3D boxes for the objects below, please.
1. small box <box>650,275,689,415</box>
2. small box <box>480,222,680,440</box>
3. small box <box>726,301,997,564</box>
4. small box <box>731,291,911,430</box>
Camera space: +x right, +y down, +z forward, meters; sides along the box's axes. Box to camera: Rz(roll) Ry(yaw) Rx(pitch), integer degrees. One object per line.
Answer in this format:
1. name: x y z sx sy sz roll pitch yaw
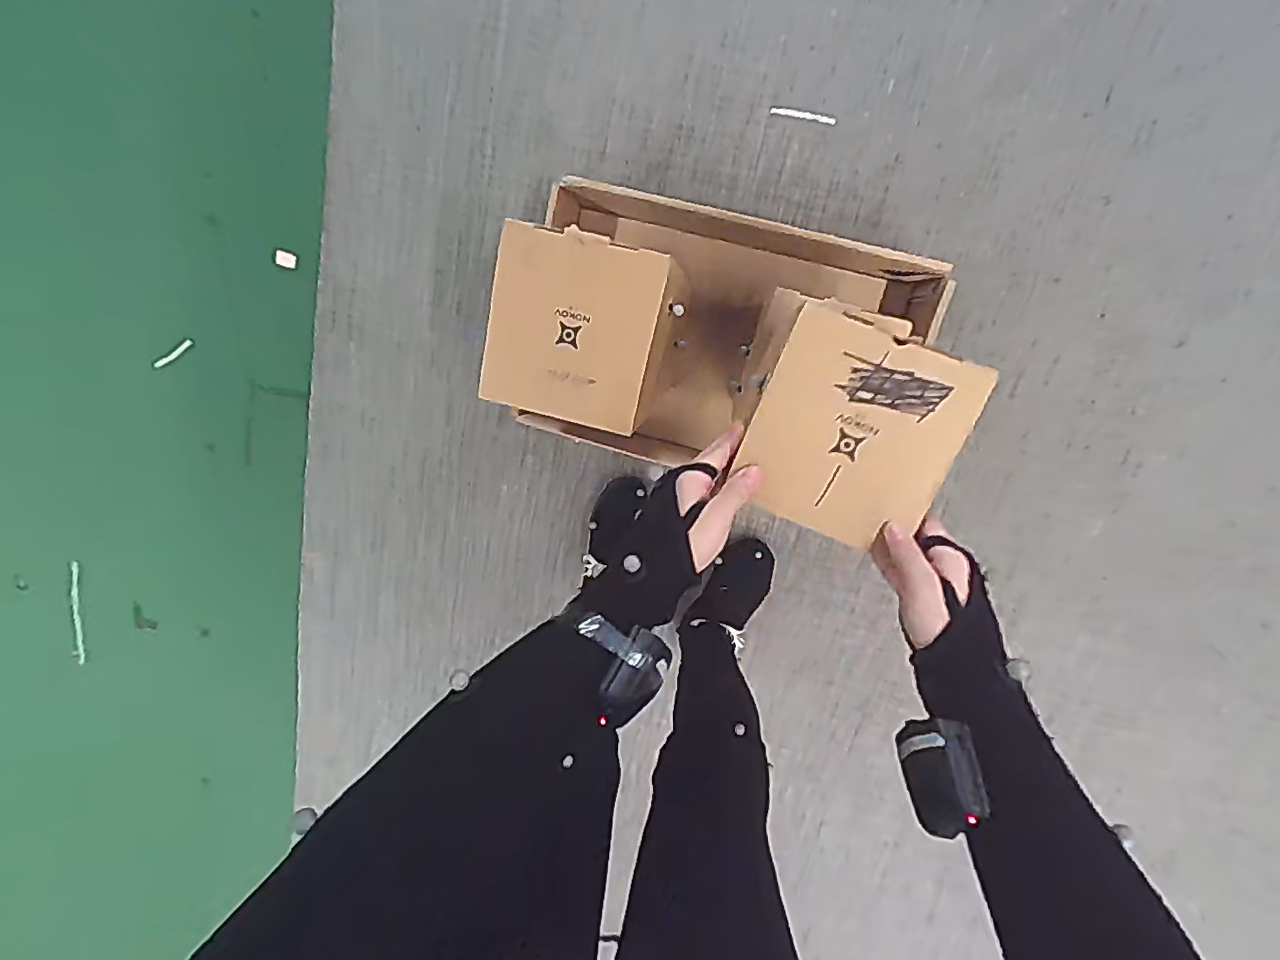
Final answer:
1. small box: -0.031 -0.203 0.757 0.168 0.176 0.179 15 106 6
2. small box: -0.055 -0.161 0.601 0.168 0.176 0.179 15 107 5
3. small box: 0.188 -0.051 0.526 0.168 0.176 0.179 23 104 3
4. small box: 0.231 -0.139 0.731 0.168 0.176 0.179 17 106 6
